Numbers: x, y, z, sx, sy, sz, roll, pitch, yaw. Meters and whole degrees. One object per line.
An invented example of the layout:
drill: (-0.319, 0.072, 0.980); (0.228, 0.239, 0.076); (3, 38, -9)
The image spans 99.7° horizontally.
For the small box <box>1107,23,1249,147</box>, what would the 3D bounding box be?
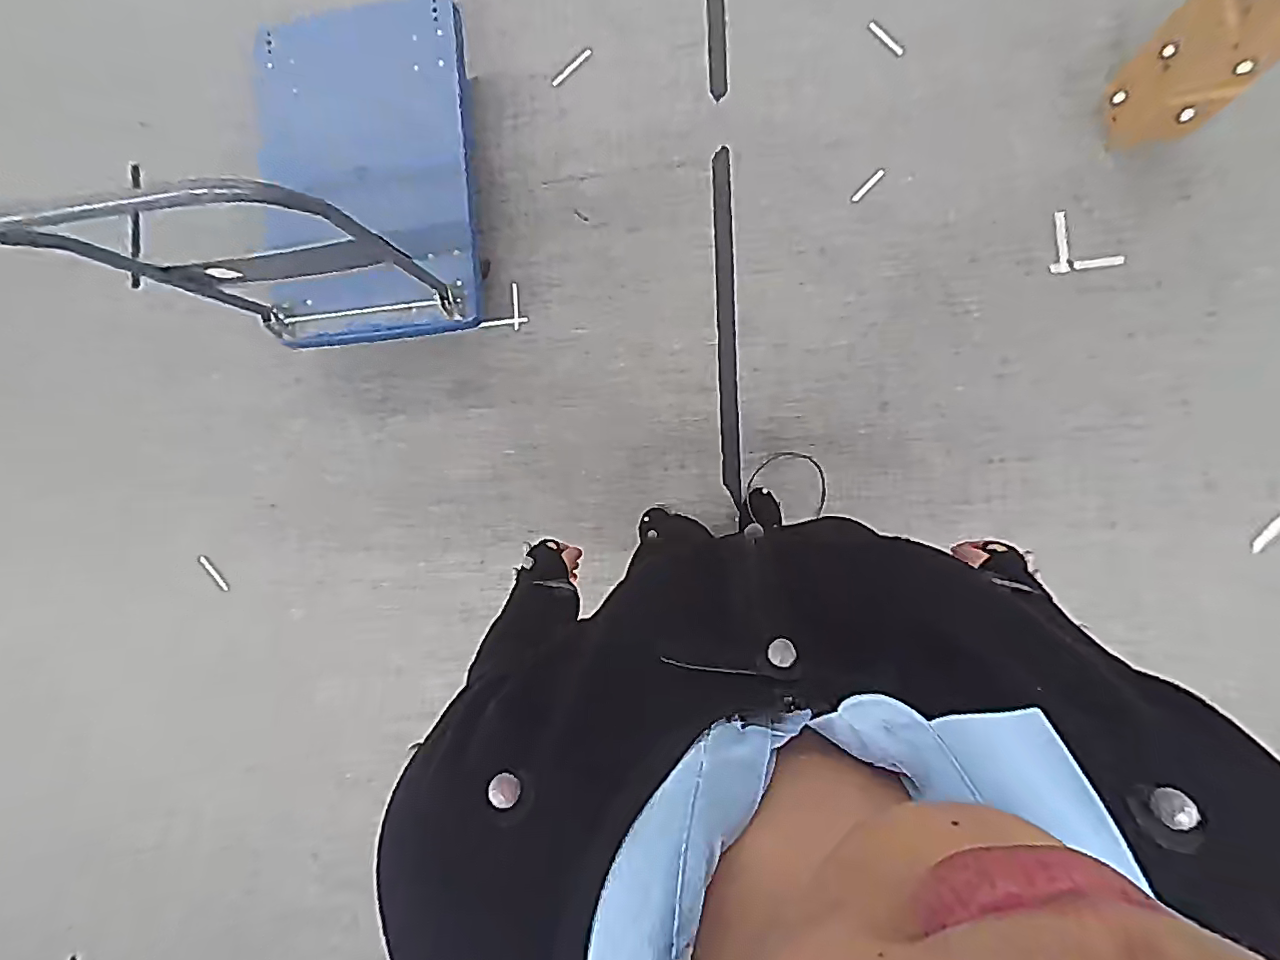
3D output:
small box: (1.274, -0.933, 1.291); (0.179, 0.176, 0.168); (-4, 89, 8)

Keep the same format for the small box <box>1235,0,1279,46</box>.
small box: (1.239, -0.932, 0.964); (0.179, 0.176, 0.168); (-8, 88, 8)
